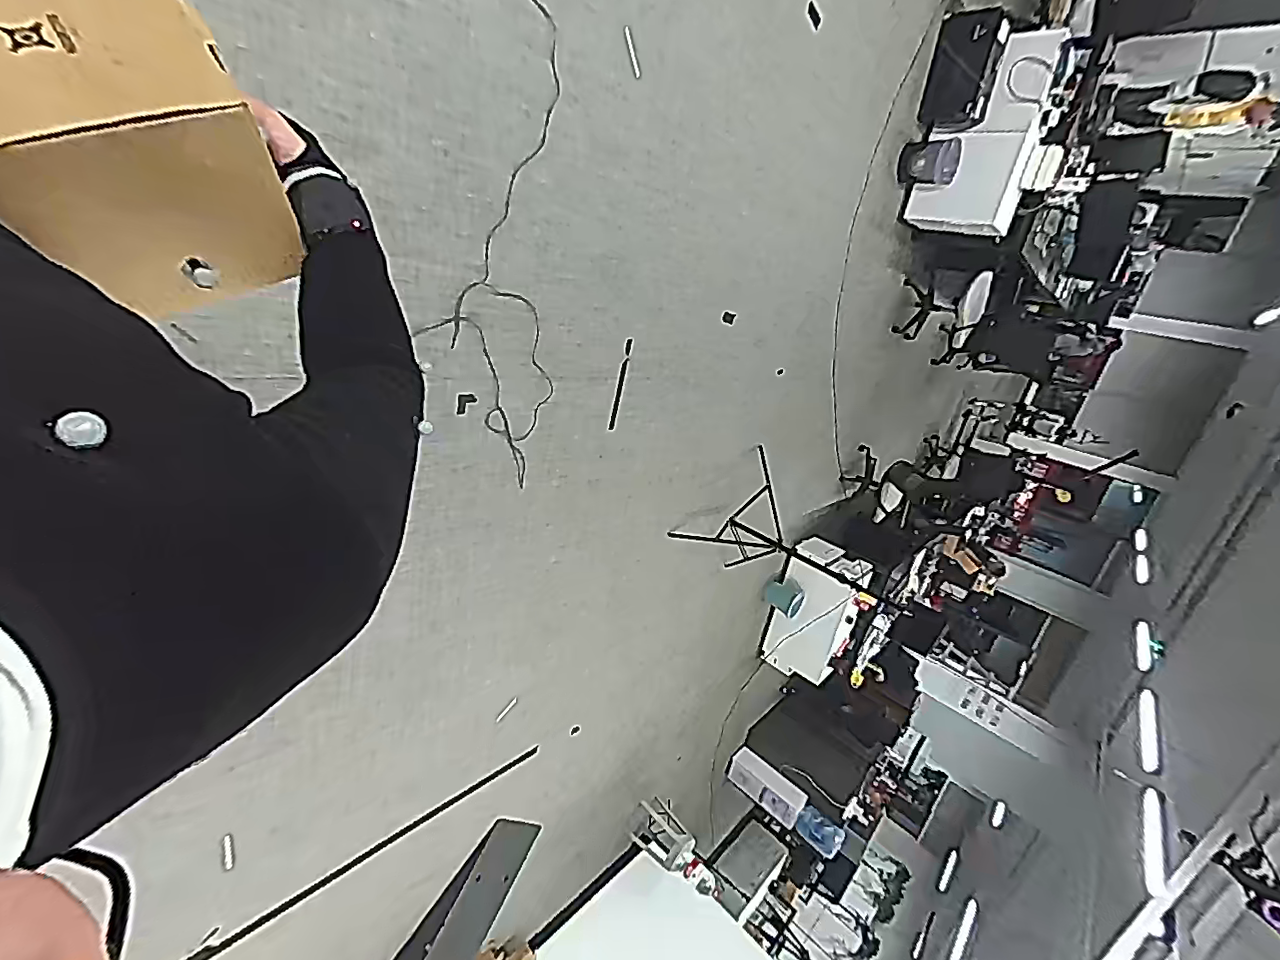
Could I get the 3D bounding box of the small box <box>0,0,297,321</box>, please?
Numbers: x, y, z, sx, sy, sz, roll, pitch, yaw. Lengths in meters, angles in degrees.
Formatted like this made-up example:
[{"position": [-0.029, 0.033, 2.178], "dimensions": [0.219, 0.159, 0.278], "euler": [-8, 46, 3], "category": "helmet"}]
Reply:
[{"position": [-0.412, -0.263, 0.439], "dimensions": [0.179, 0.168, 0.176], "euler": [-31, 170, -24], "category": "small box"}]
